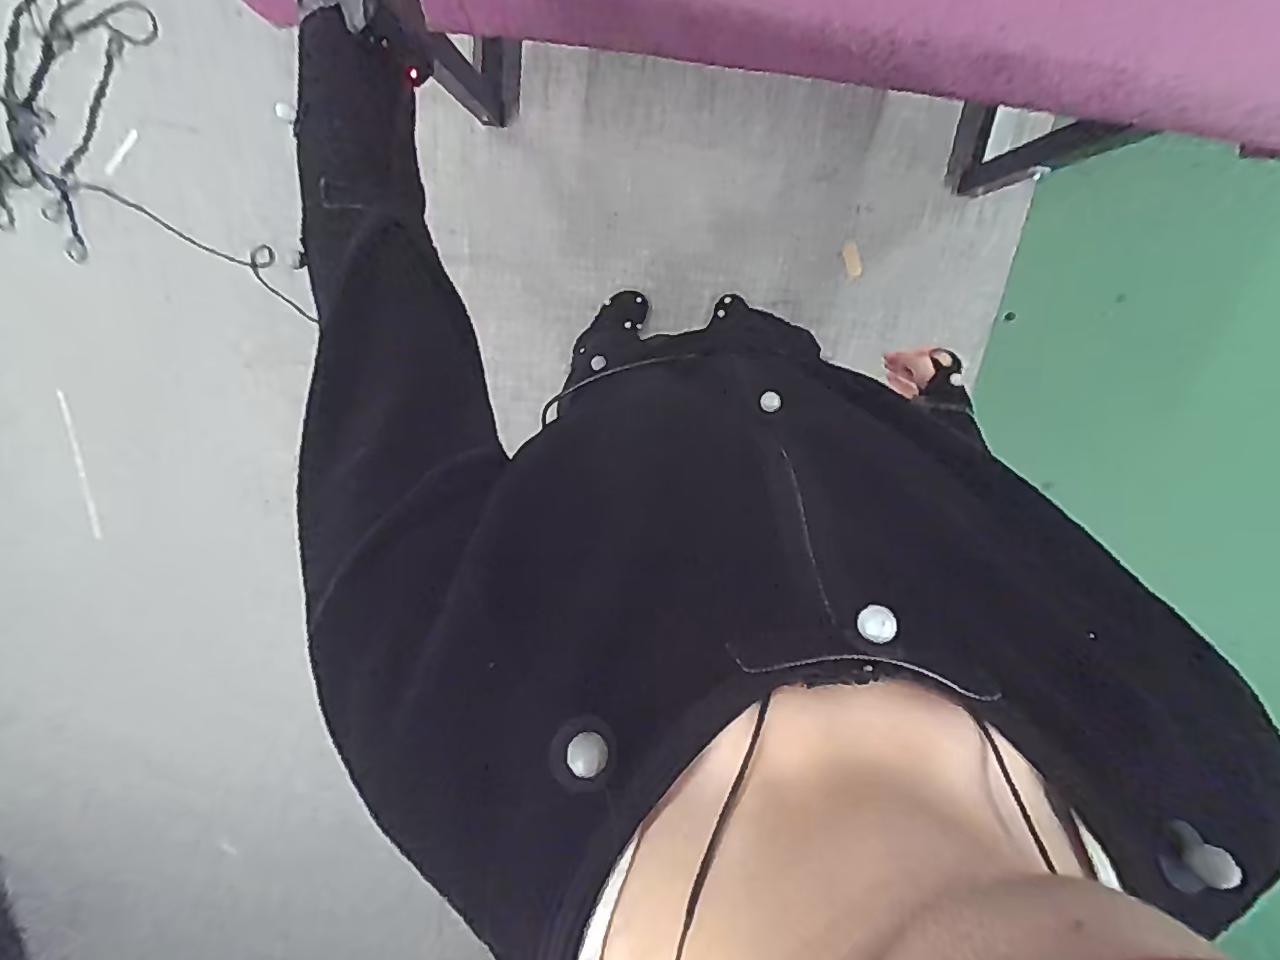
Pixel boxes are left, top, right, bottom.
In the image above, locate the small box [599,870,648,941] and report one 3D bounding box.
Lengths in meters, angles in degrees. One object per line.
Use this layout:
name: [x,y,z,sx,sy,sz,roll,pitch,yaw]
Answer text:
small box: [-0.036,1.463,1.902,0.179,0.176,0.168,13,108,-1]
